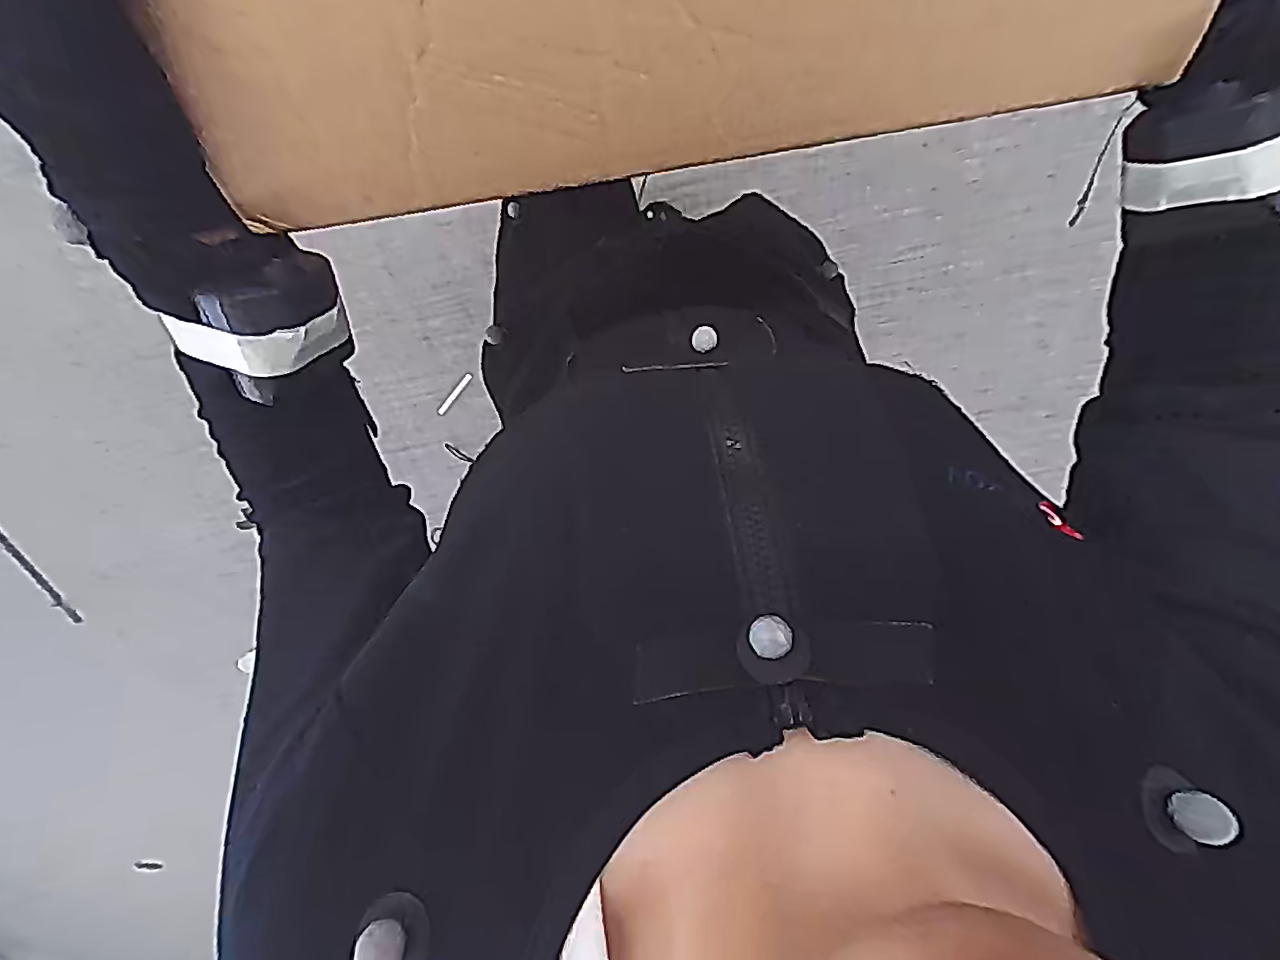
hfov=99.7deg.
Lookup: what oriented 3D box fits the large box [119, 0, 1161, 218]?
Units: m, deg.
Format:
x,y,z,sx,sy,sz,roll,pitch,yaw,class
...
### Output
x,y,z,sx,sy,sz,roll,pitch,yaw,class
-0.011,-0.361,0.228,0.408,0.320,0.320,-8,137,2,large box
